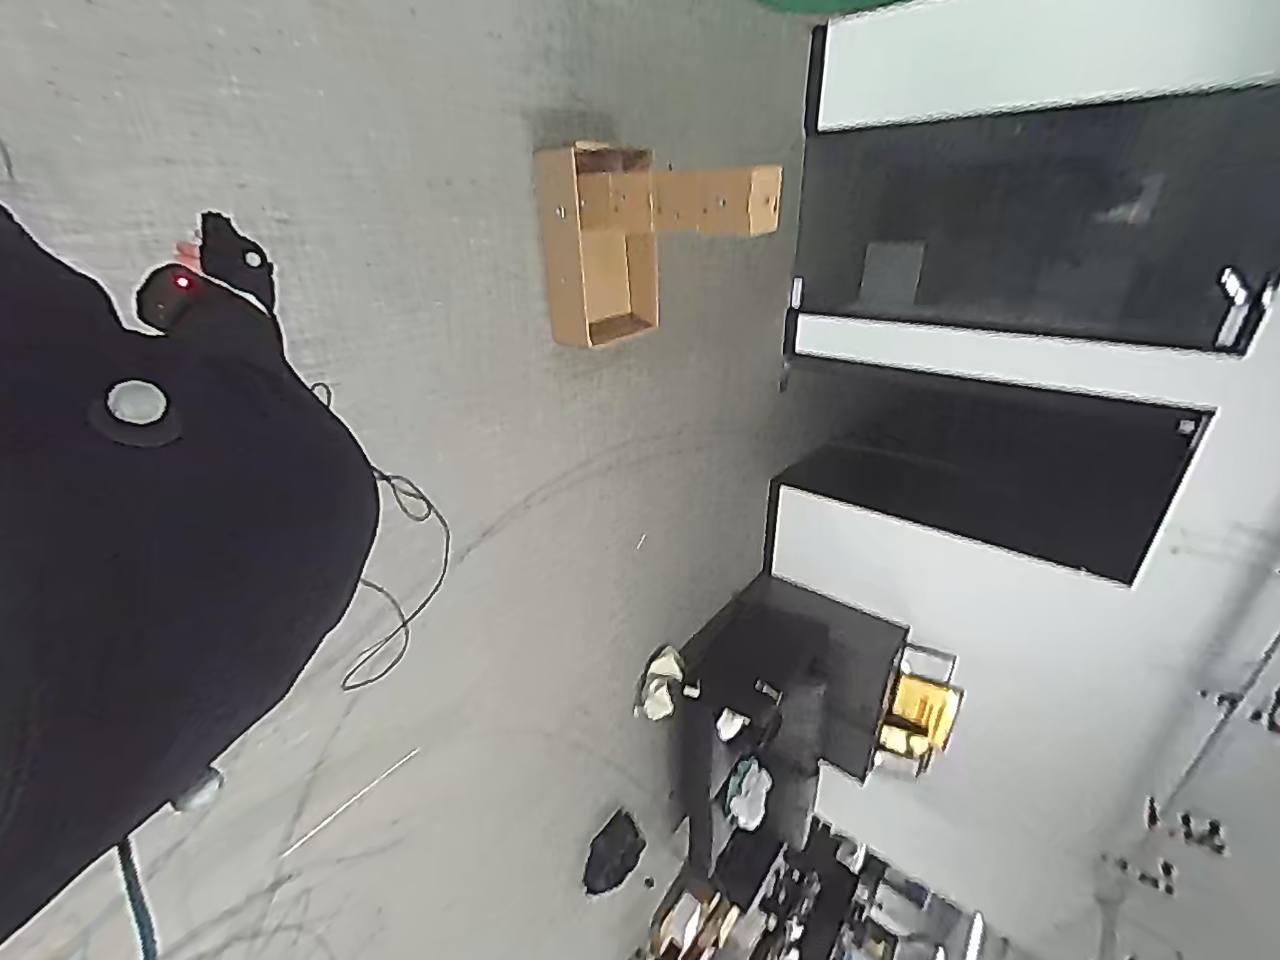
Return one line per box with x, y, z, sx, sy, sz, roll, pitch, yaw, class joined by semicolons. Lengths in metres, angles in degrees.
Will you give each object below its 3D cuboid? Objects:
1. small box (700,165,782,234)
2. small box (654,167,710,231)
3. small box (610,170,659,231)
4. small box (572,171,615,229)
0.286;-0.805;1.551;0.179;0.176;0.168;-34;134;-41;small box
0.154;-0.852;1.637;0.179;0.176;0.168;-35;134;-42;small box
0.022;-0.894;1.723;0.179;0.176;0.168;-32;132;-43;small box
-0.107;-0.938;1.811;0.179;0.176;0.168;-31;130;-44;small box
